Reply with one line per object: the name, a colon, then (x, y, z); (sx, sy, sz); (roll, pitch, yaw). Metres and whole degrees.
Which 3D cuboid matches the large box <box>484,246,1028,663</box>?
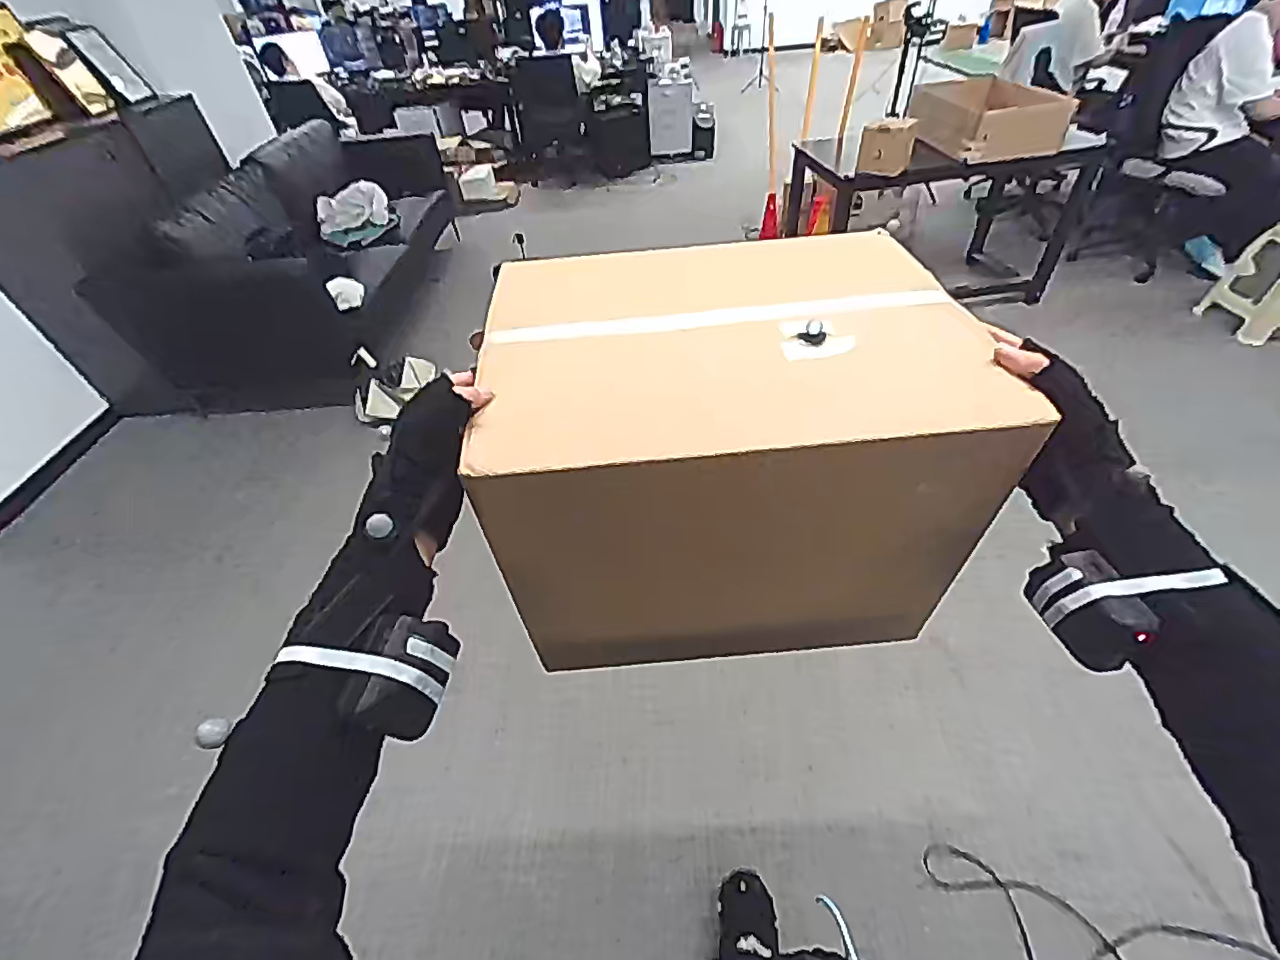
large box: (0.077, -0.027, 0.591); (0.408, 0.320, 0.320); (-5, 47, -1)
